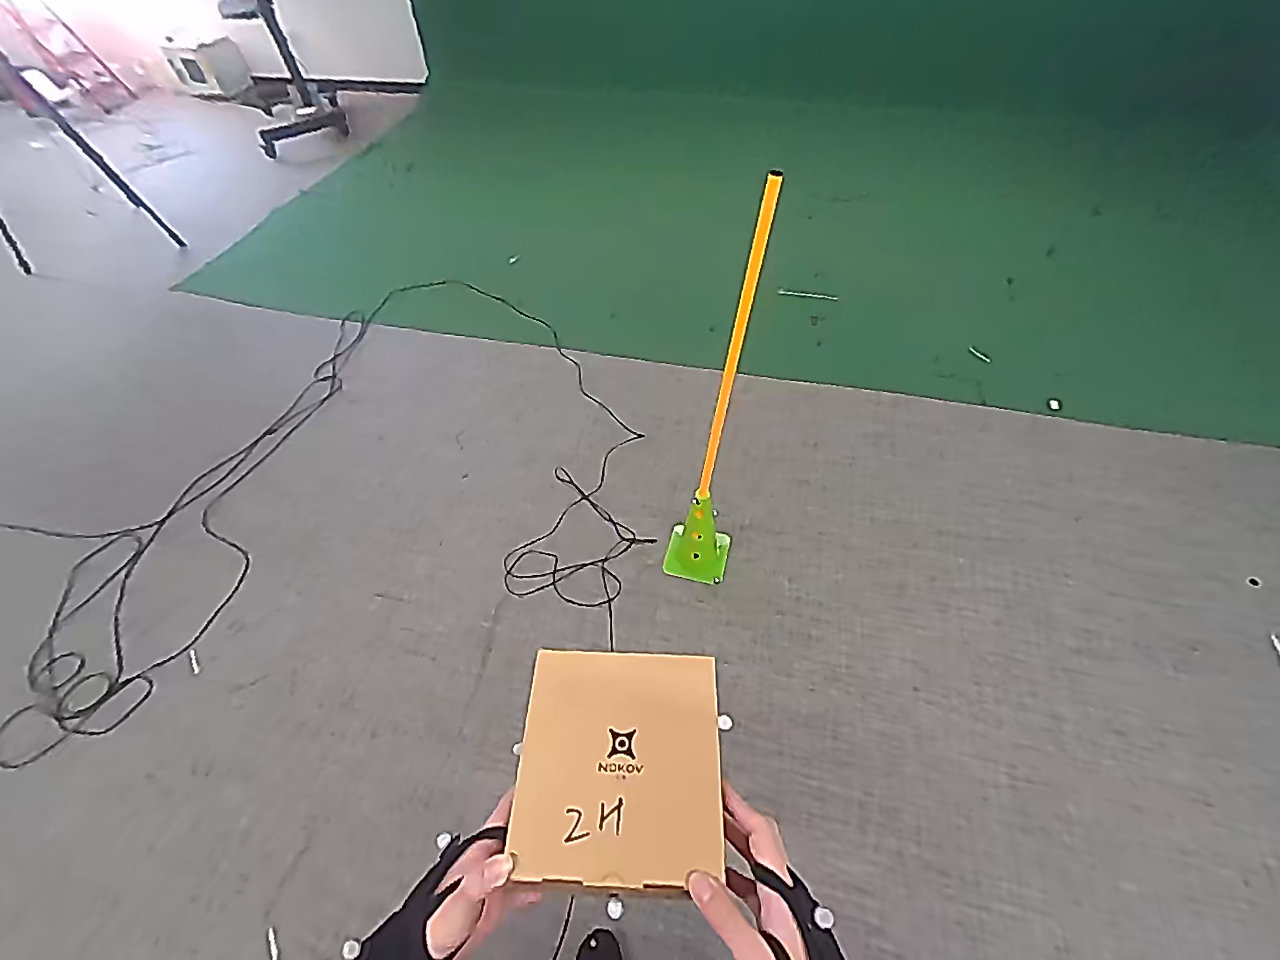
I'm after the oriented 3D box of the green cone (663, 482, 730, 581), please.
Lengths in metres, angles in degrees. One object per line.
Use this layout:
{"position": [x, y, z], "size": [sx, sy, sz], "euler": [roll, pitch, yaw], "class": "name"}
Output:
{"position": [0.183, 0.130, 1.679], "size": [0.202, 0.368, 0.200], "euler": [10, 52, 12], "class": "green cone"}
